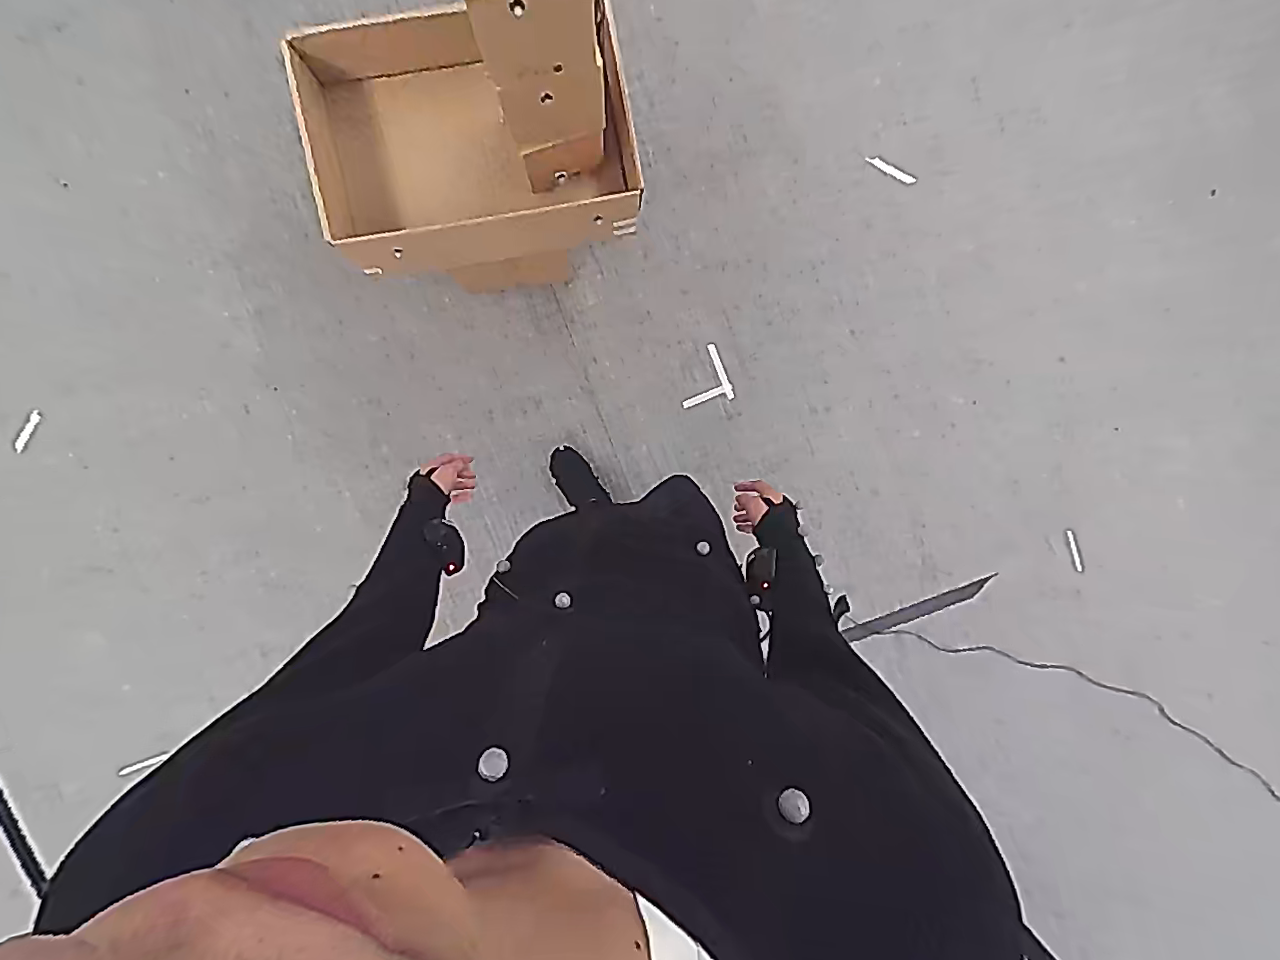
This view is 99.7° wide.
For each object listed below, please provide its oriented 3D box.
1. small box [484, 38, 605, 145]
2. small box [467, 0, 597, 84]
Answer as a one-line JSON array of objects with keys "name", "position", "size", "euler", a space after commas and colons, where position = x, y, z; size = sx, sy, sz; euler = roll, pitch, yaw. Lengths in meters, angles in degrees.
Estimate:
[{"name": "small box", "position": [-0.162, -0.702, 0.909], "size": [0.179, 0.176, 0.168], "euler": [-14, 94, -1]}, {"name": "small box", "position": [-0.154, -0.697, 0.745], "size": [0.168, 0.176, 0.179], "euler": [-8, 93, -1]}]
